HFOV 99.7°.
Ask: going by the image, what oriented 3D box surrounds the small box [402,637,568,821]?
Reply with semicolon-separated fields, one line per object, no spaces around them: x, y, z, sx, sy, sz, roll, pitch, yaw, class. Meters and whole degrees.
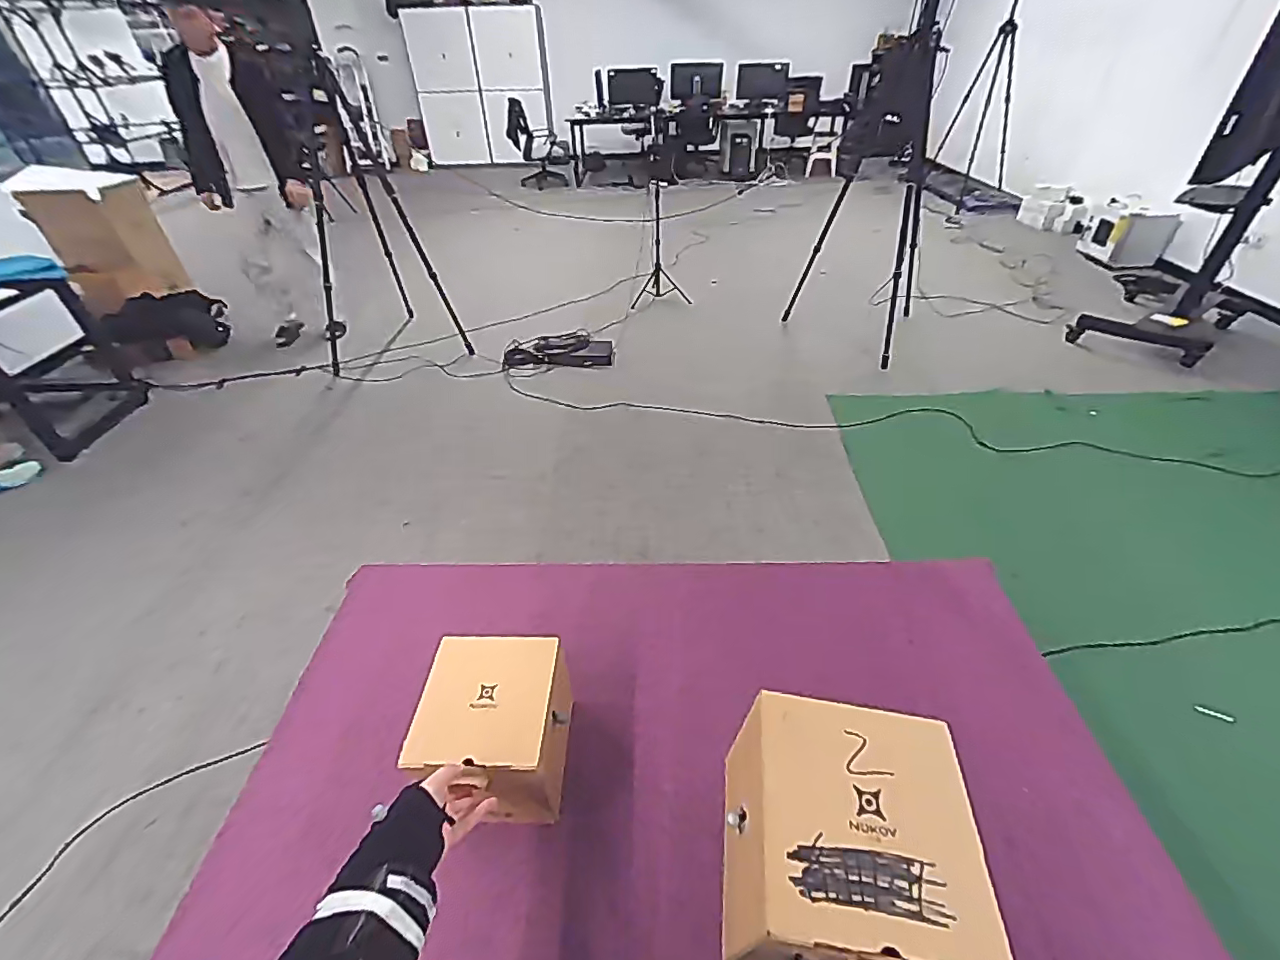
-0.197;0.341;0.748;0.168;0.176;0.179;0;40;2;small box
